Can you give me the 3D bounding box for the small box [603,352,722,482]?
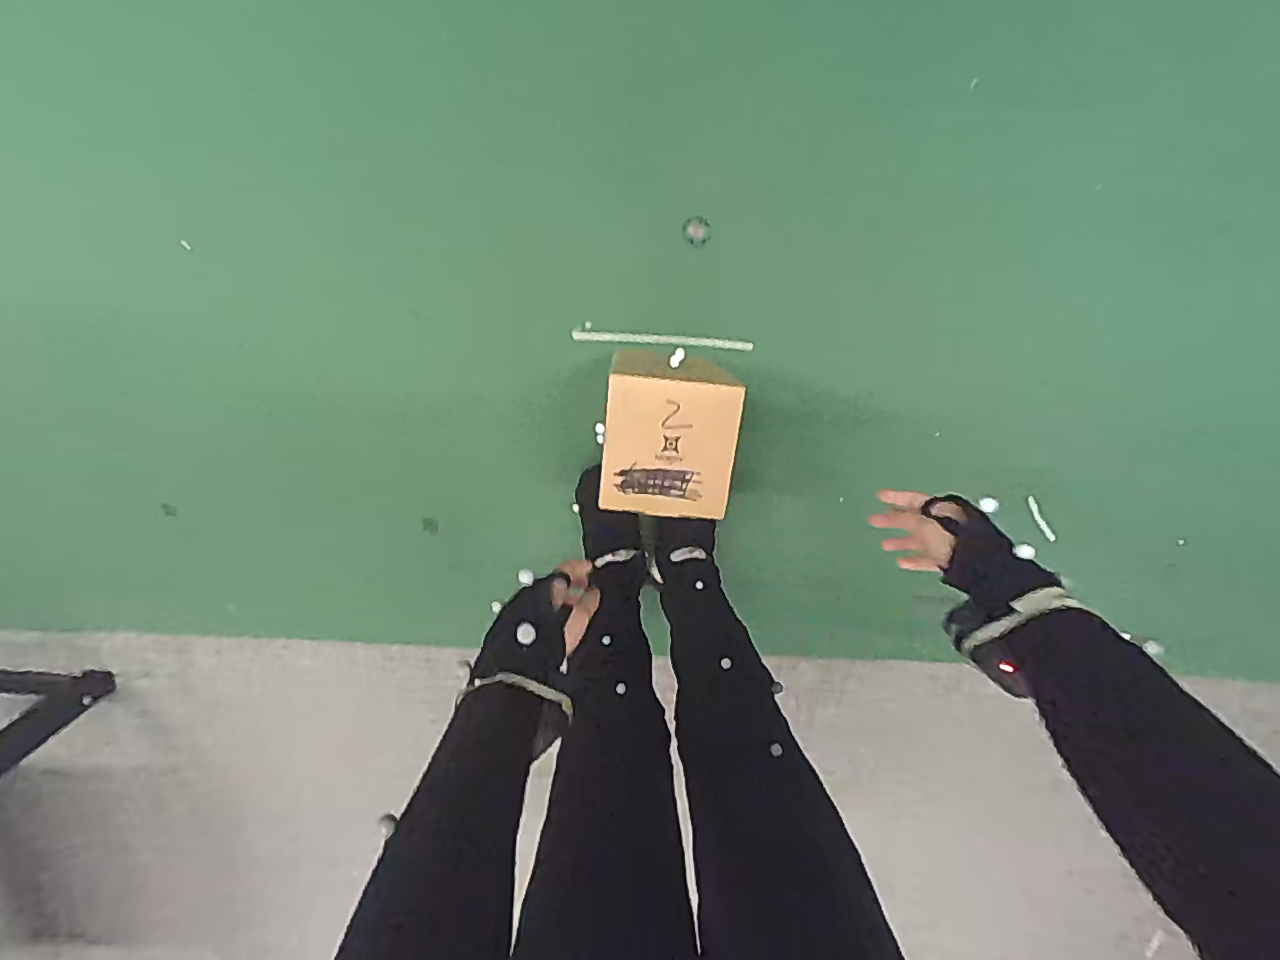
[{"bbox_3d":[0.030,-0.113,0.899,0.168,0.176,0.179,6,109,-3],"label":"small box"}]
